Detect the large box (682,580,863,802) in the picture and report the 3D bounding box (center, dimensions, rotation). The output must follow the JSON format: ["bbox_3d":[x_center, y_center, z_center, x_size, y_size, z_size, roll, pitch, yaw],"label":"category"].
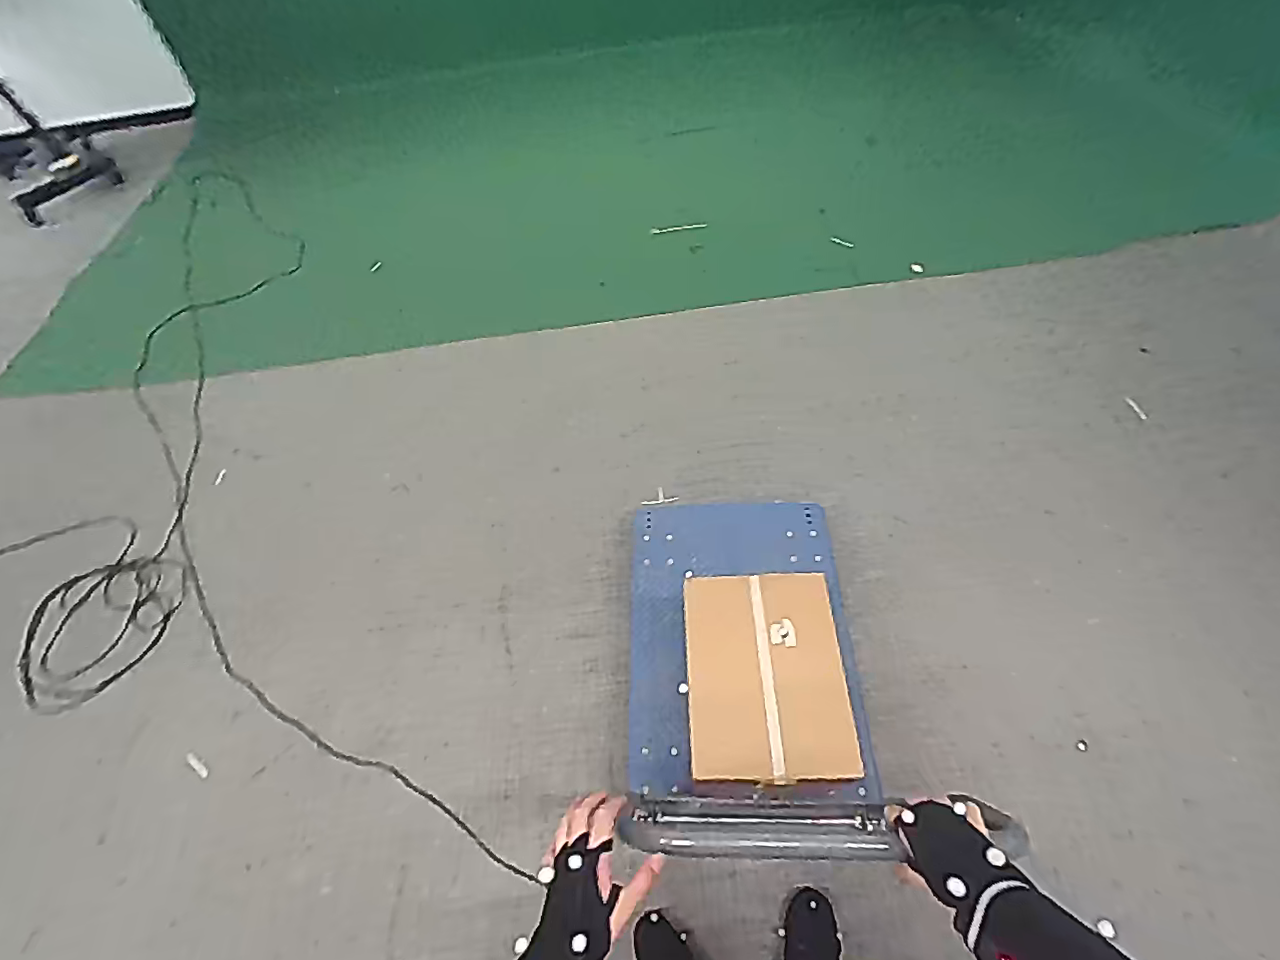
[{"bbox_3d":[0.264,0.479,1.218,0.320,0.320,0.408,-2,54,4],"label":"large box"}]
